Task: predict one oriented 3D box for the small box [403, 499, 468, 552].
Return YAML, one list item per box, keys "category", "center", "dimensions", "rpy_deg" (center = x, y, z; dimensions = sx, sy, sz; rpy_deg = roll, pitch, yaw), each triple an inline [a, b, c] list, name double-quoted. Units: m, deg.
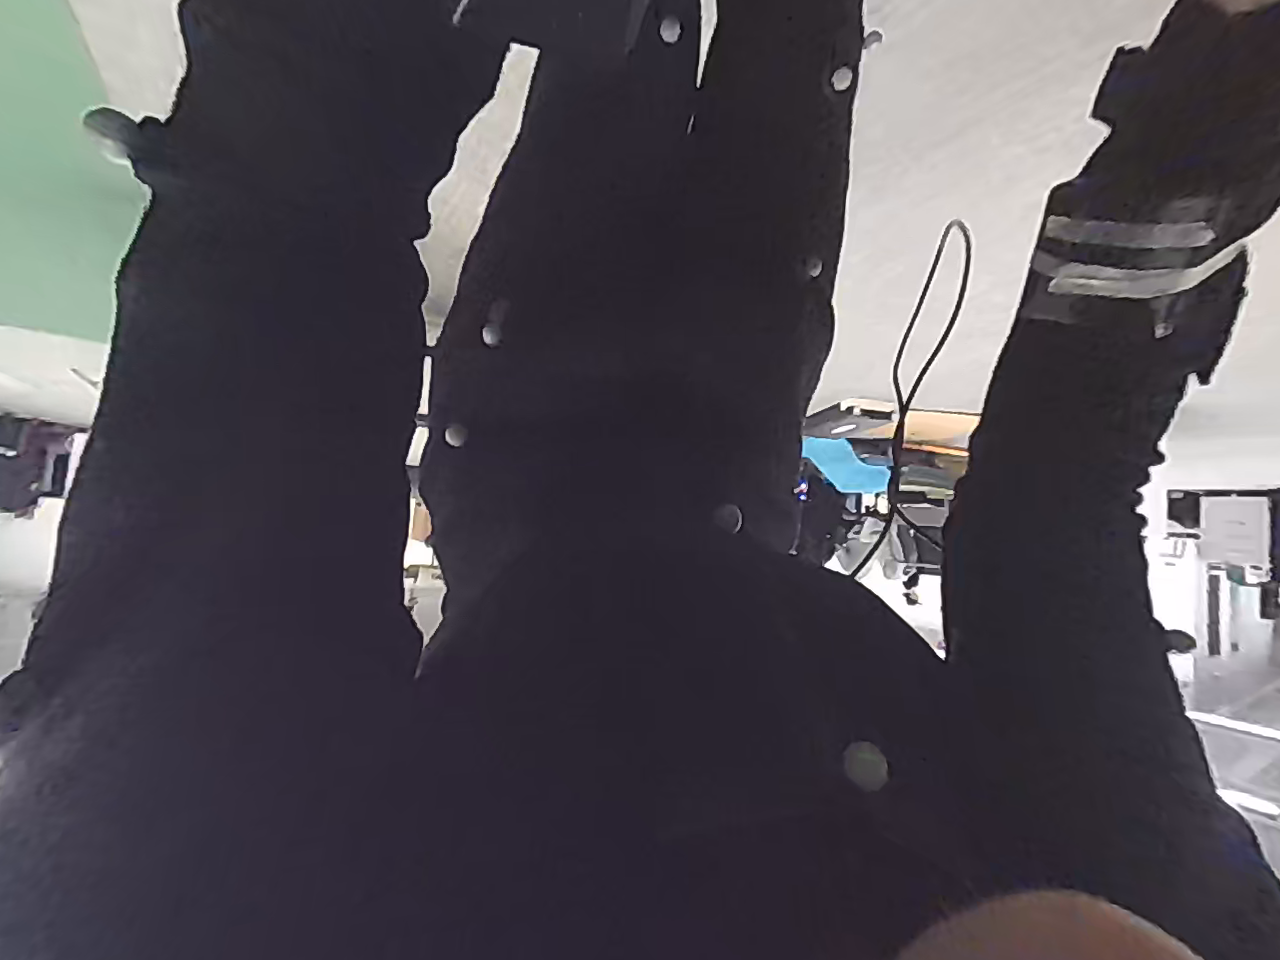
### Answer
- category: "small box"
  center: [-0.729, 0.162, 1.933]
  dimensions: [0.179, 0.176, 0.168]
  rpy_deg: [10, 171, -35]
